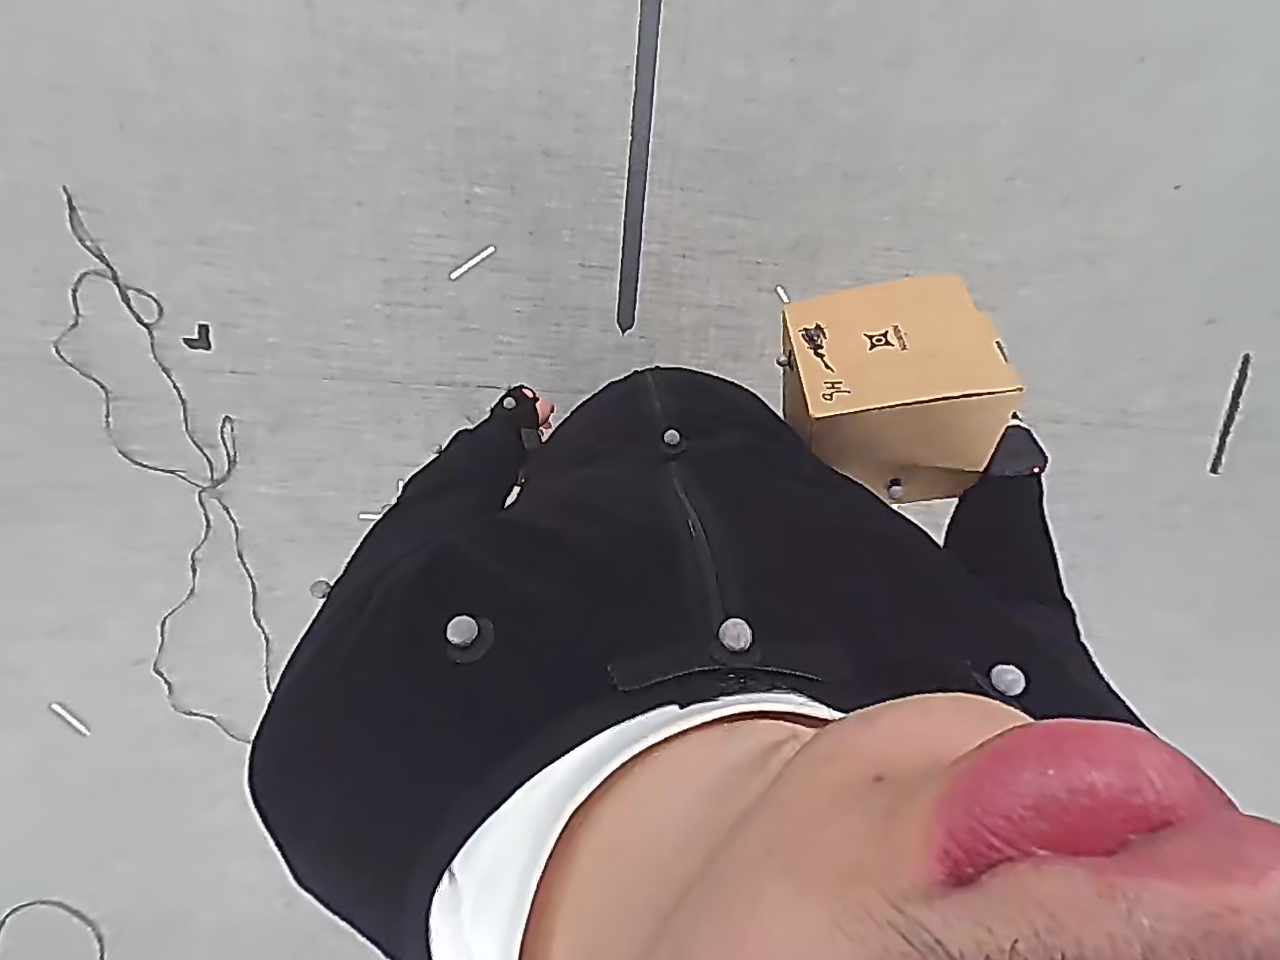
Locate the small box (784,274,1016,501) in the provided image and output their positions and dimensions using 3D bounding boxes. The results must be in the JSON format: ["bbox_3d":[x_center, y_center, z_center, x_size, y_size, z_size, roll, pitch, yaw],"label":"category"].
[{"bbox_3d":[0.260,-0.093,0.593,0.179,0.168,0.176,-7,144,9],"label":"small box"}]
